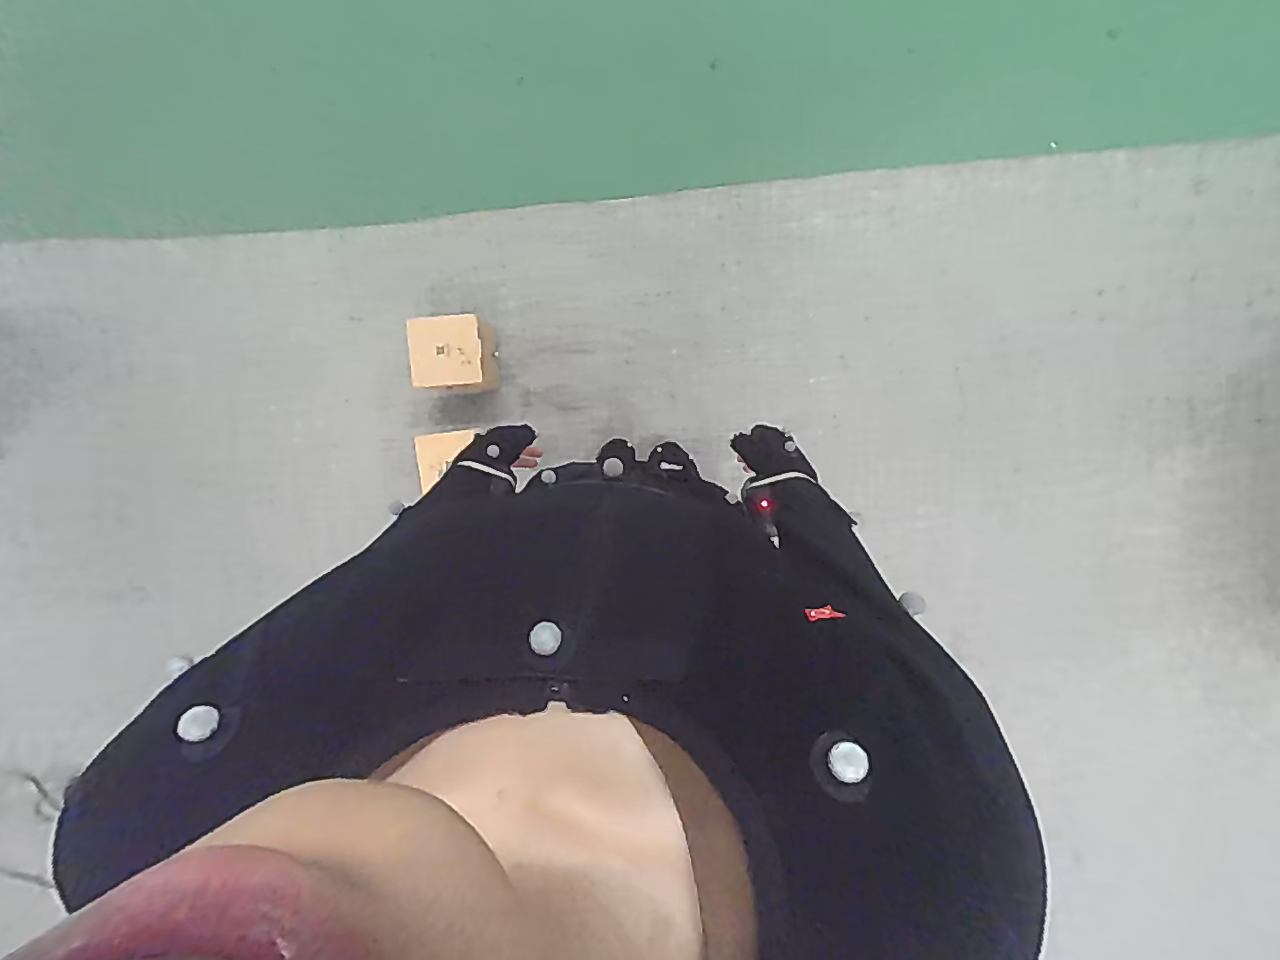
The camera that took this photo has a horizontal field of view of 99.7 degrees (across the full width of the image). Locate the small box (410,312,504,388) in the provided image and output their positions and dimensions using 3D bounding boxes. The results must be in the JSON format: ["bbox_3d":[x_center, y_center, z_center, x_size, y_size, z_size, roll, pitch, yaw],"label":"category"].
[{"bbox_3d":[-0.463,-0.328,1.391,0.179,0.176,0.168,-4,96,2],"label":"small box"}]
